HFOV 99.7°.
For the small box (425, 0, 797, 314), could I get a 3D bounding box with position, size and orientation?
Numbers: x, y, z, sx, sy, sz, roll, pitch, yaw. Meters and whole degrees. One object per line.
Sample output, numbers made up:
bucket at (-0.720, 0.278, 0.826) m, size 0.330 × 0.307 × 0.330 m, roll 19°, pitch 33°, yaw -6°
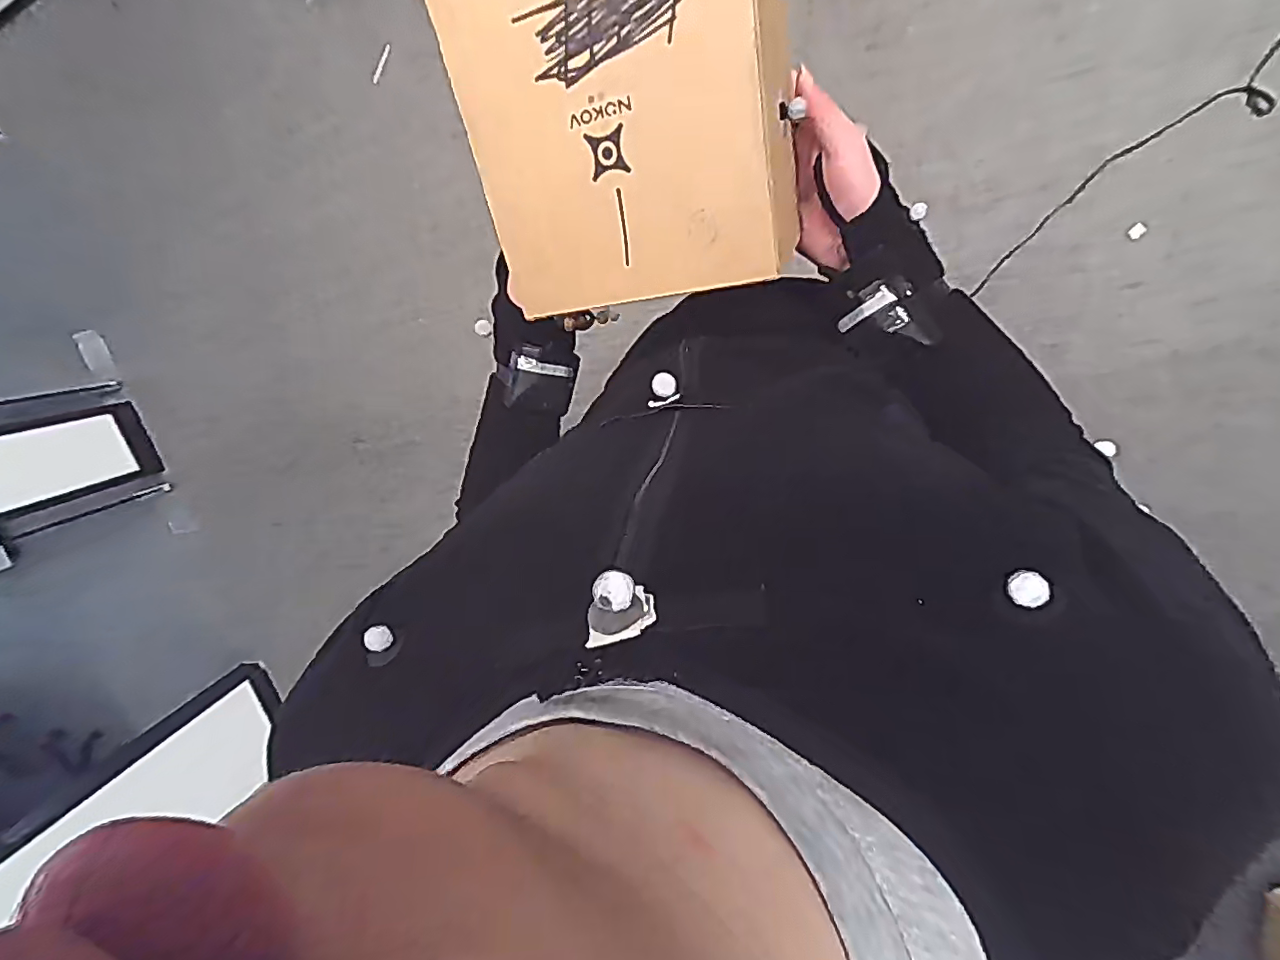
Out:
small box at (0.005, -0.223, 0.346) m, size 0.168 × 0.176 × 0.179 m, roll -1°, pitch 121°, yaw 23°
